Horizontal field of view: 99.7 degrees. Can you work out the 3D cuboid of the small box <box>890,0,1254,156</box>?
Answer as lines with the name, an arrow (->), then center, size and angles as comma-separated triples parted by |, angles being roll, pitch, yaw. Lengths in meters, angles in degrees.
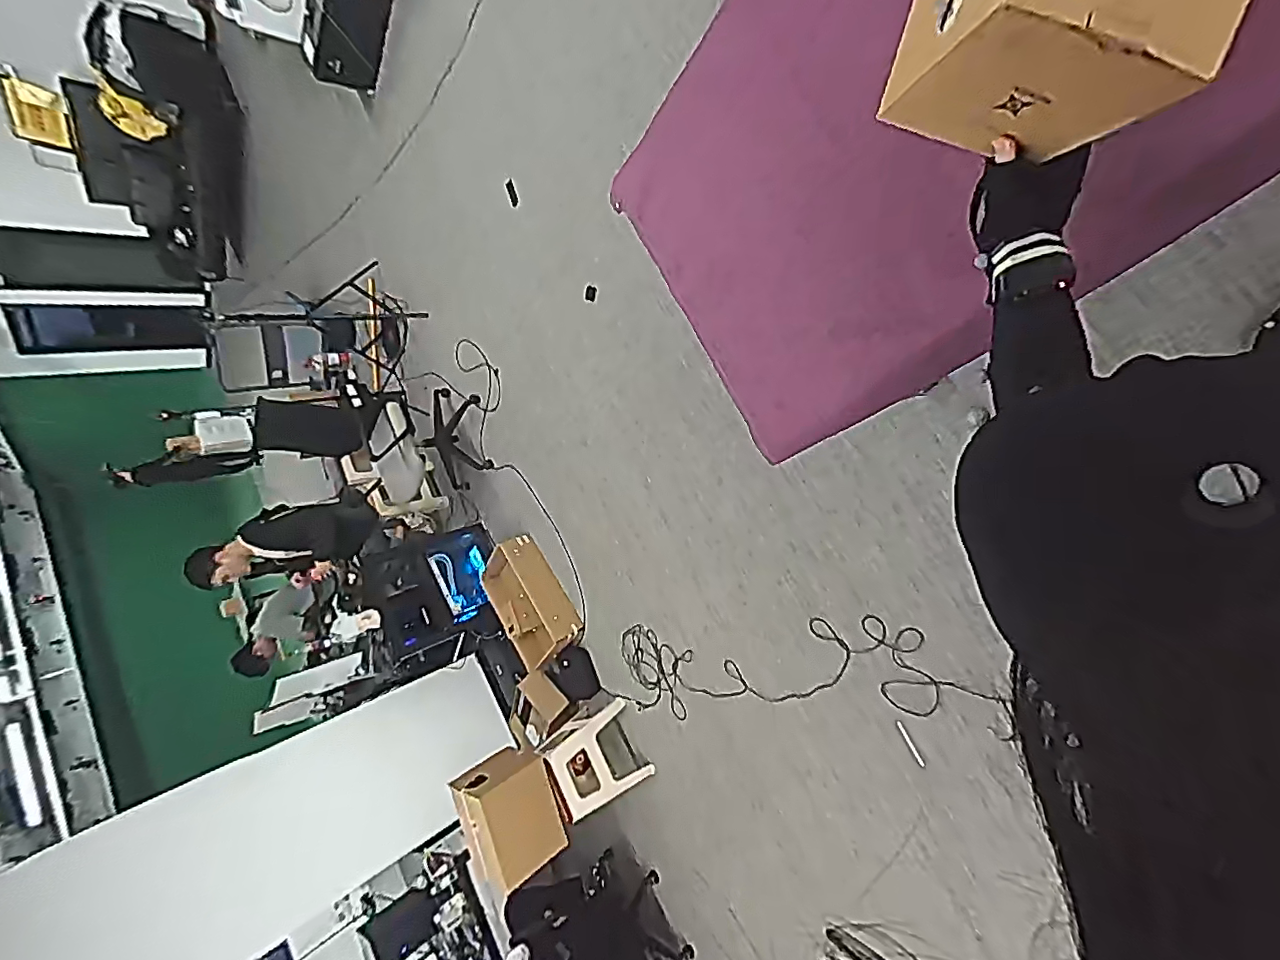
small box -> 0.334, -0.388, 0.417 | 0.168, 0.179, 0.176 | 15, 105, -3
